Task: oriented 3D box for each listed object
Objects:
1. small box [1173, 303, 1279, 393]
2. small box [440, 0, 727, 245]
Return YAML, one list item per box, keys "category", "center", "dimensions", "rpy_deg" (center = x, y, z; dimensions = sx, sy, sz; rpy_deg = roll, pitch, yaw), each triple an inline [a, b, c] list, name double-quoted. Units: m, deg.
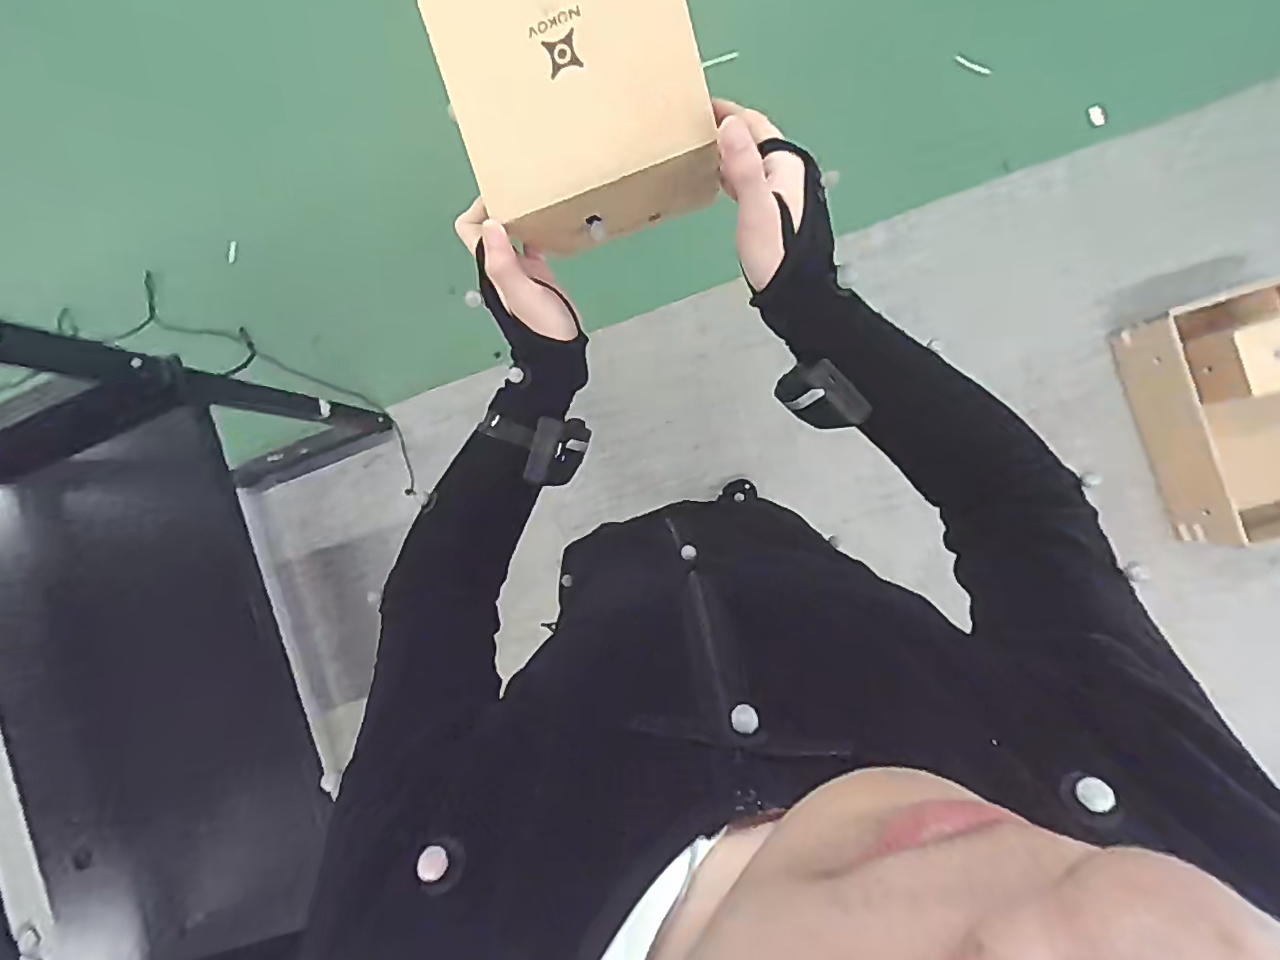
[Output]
- category: "small box"
  center: [1.516, -0.331, 1.368]
  dimensions: [0.179, 0.176, 0.168]
  rpy_deg: [-18, 89, 6]
- category: "small box"
  center: [-0.028, -0.305, 0.432]
  dimensions: [0.168, 0.176, 0.179]
  rpy_deg: [-15, 100, 11]
